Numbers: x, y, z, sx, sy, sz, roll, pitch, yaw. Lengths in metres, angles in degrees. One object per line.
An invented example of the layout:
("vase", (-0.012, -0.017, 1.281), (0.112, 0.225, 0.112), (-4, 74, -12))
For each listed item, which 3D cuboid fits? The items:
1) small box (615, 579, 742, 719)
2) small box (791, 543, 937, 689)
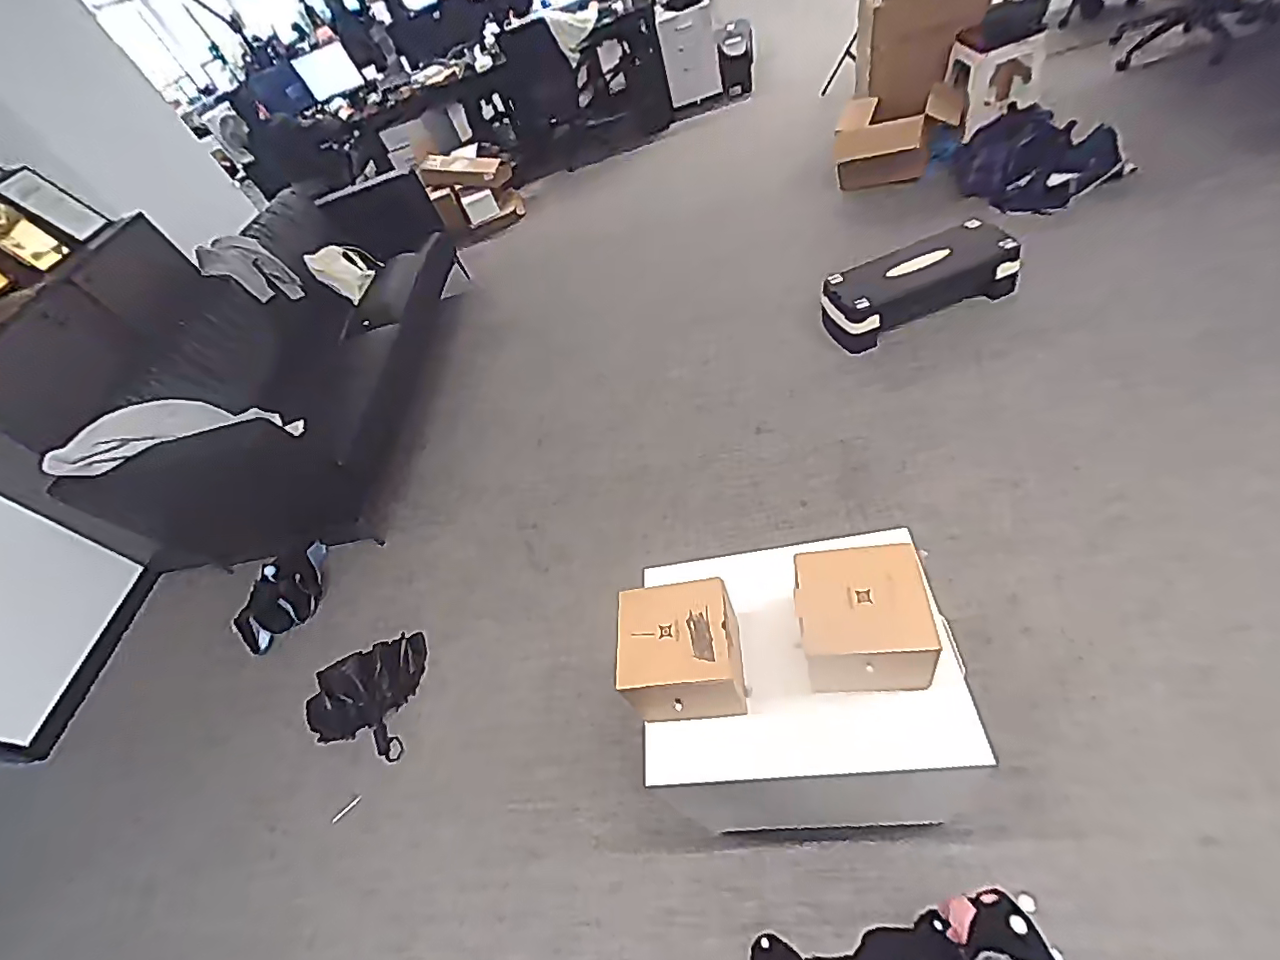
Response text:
("small box", (0.069, 0.283, 0.891), (0.179, 0.176, 0.168), (-11, 49, 14))
("small box", (0.339, 0.218, 0.840), (0.179, 0.176, 0.168), (-8, 51, 16))
